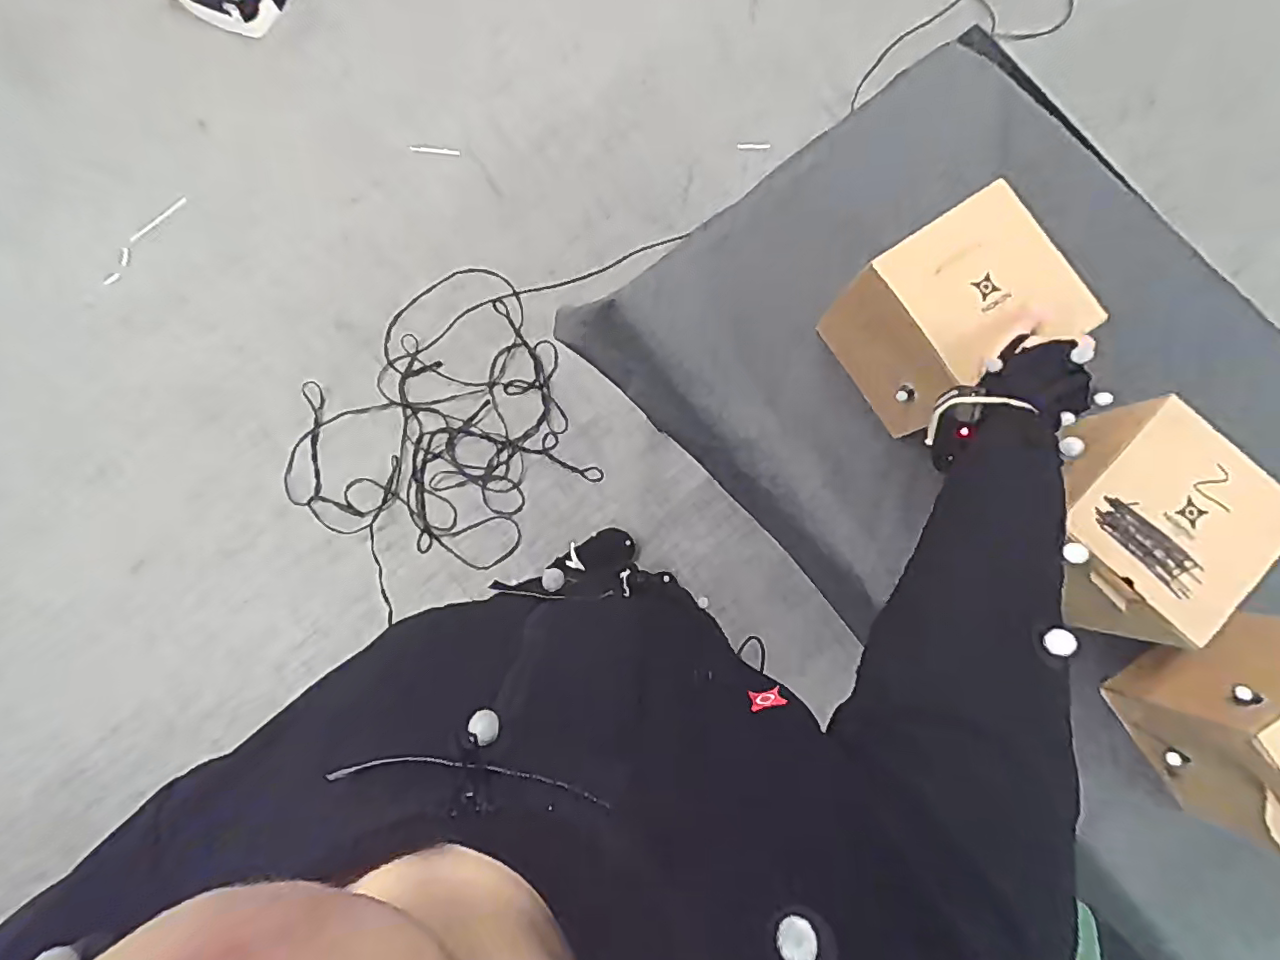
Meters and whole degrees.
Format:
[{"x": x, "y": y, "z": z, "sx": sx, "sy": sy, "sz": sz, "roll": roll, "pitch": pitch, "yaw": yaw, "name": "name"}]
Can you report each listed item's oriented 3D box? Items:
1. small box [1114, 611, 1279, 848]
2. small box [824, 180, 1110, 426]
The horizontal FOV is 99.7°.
[{"x": 0.661, "y": 0.253, "z": 0.553, "sx": 0.179, "sy": 0.176, "sz": 0.168, "roll": -33, "pitch": 85, "yaw": -3, "name": "small box"}, {"x": 0.340, "y": -0.176, "z": 0.602, "sx": 0.168, "sy": 0.176, "sz": 0.179, "roll": -33, "pitch": 84, "yaw": -4, "name": "small box"}]
